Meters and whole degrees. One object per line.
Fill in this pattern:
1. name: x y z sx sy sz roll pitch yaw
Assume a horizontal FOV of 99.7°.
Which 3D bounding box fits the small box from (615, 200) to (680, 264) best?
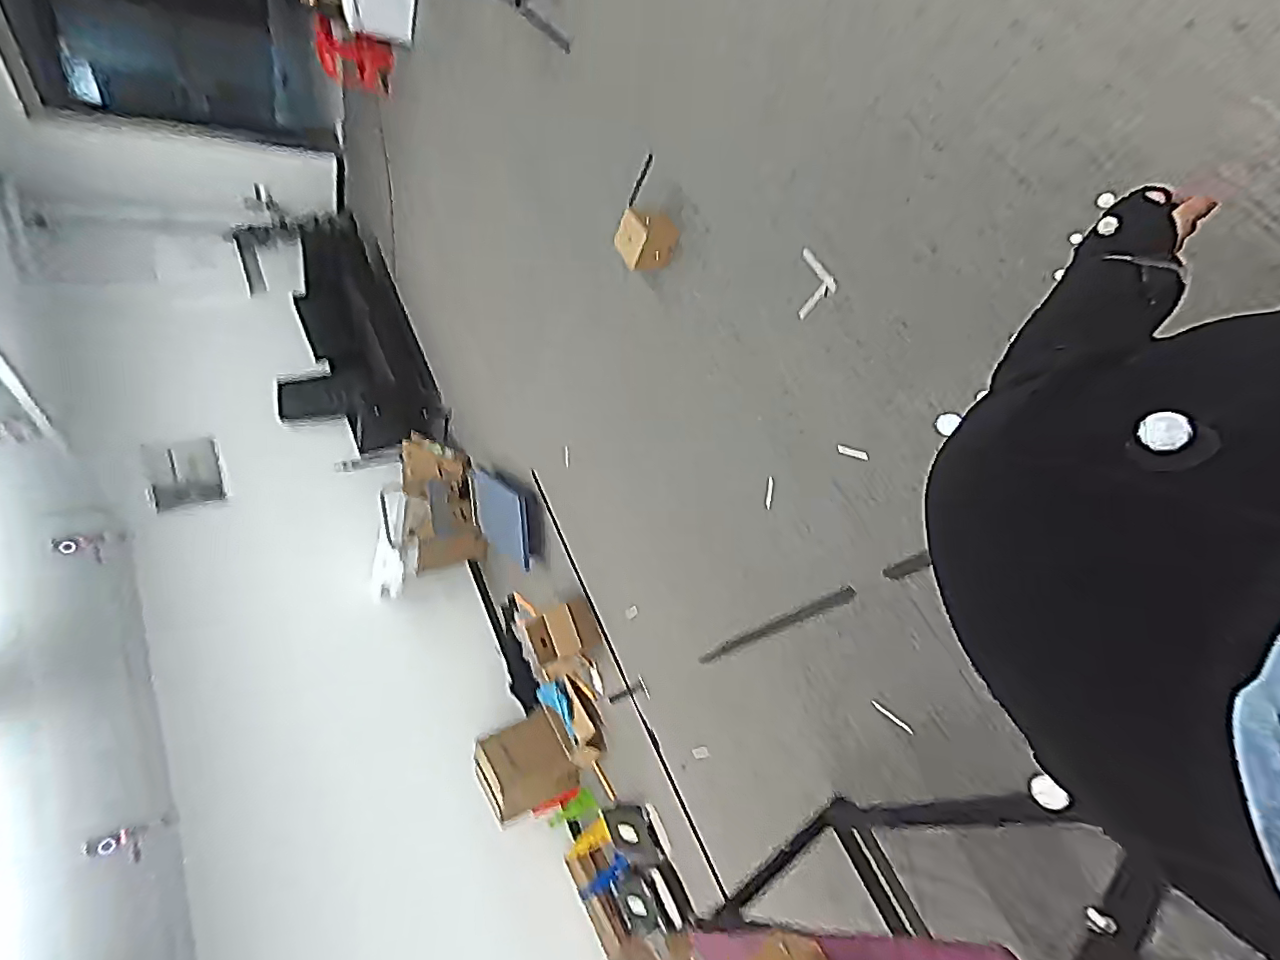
1. small box: 0.032 -0.998 2.178 0.179 0.176 0.168 61 143 21
